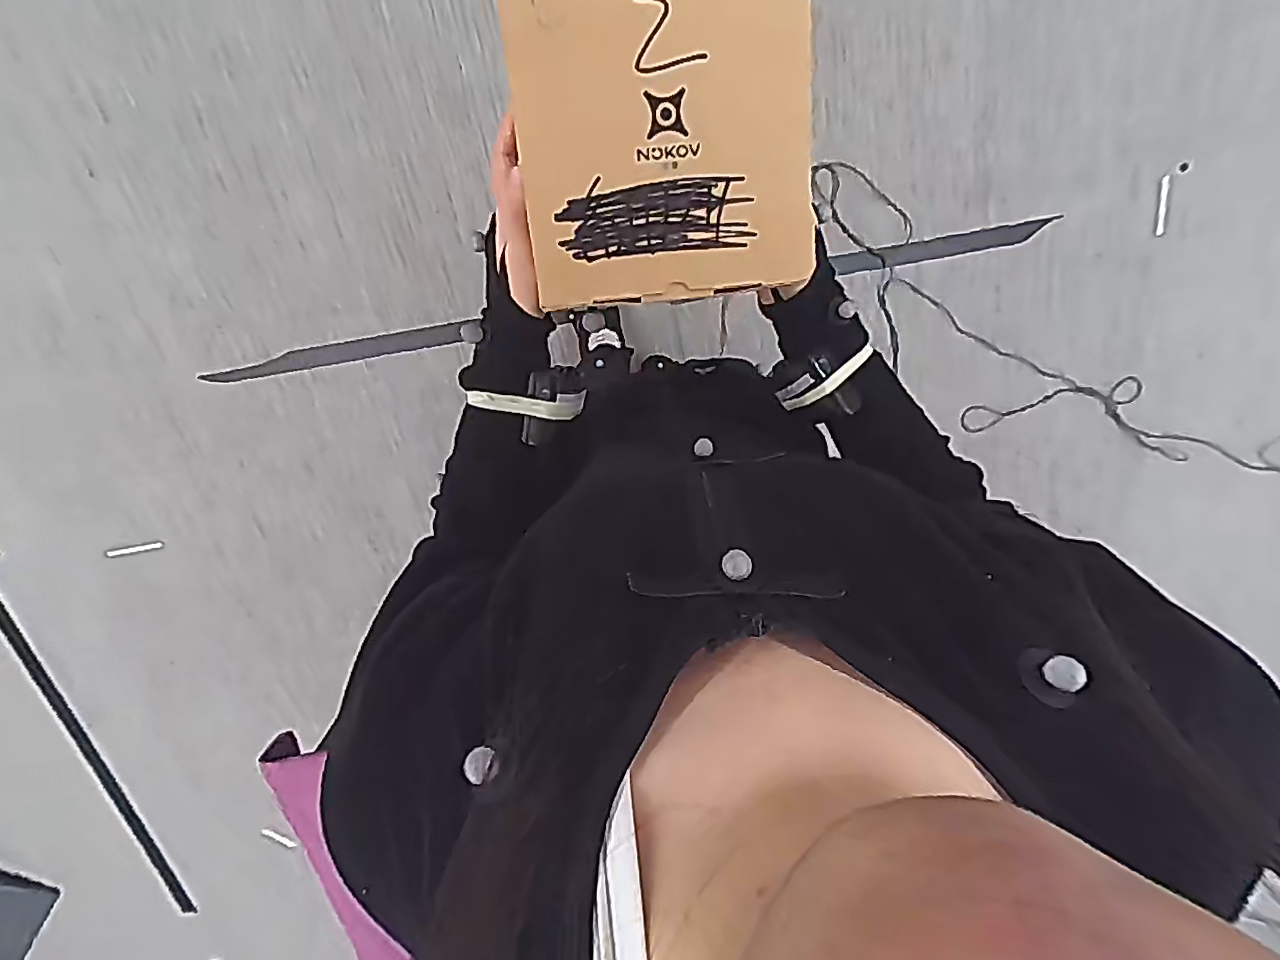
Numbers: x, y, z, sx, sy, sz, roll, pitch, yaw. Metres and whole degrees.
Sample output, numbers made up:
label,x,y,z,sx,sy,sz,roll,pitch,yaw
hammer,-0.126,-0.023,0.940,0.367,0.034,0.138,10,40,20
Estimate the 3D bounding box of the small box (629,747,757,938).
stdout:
label,x,y,z,sx,sy,sz,roll,pitch,yaw
small box,0.078,0.559,0.850,0.168,0.176,0.179,-9,108,-2
